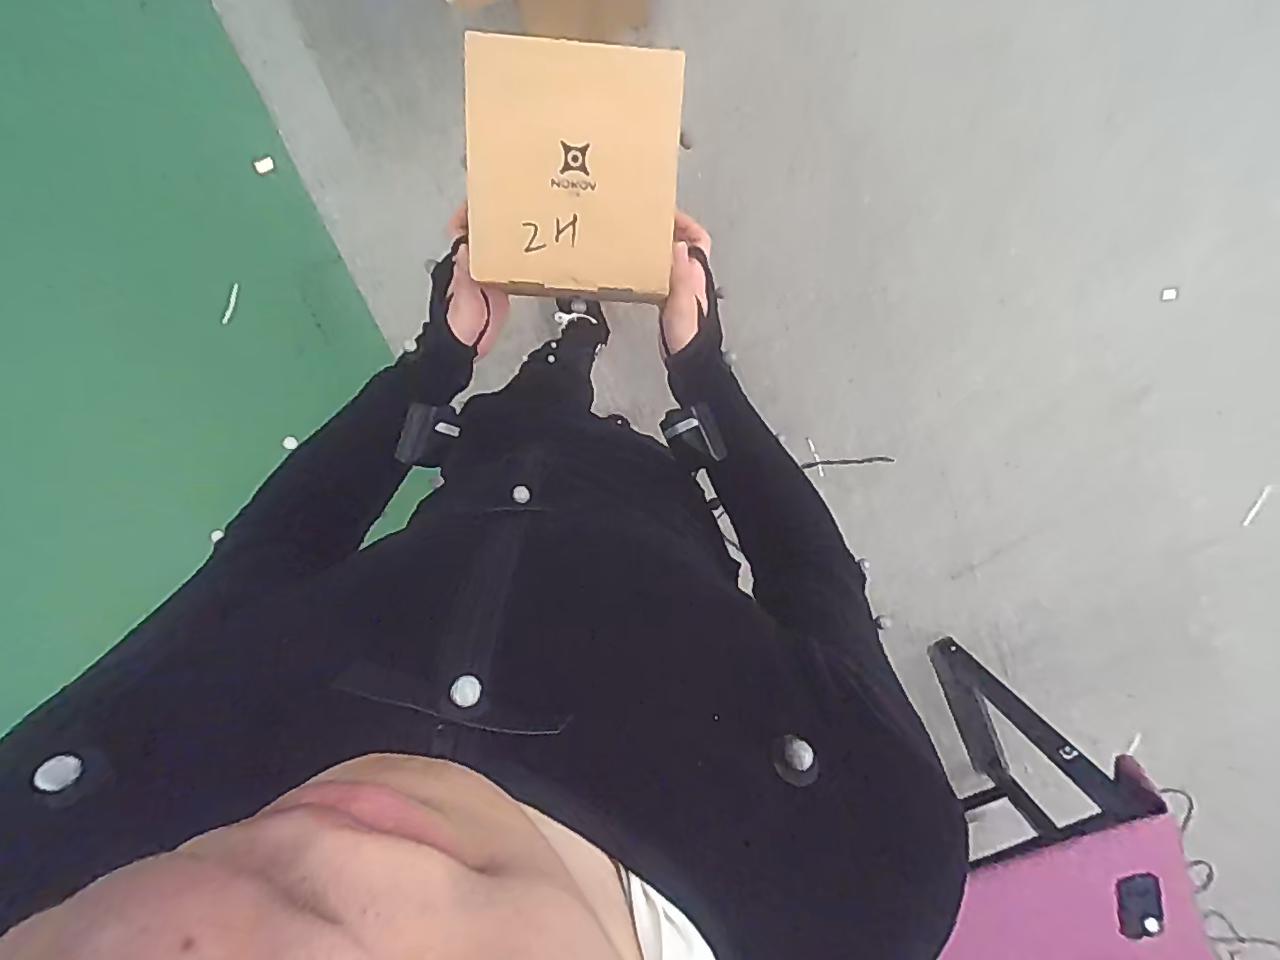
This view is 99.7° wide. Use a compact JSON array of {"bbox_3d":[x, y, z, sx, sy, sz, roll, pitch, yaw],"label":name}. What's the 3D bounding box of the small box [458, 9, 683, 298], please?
[{"bbox_3d":[-0.059,-0.267,0.487,0.168,0.176,0.179,3,105,-3],"label":"small box"}]
